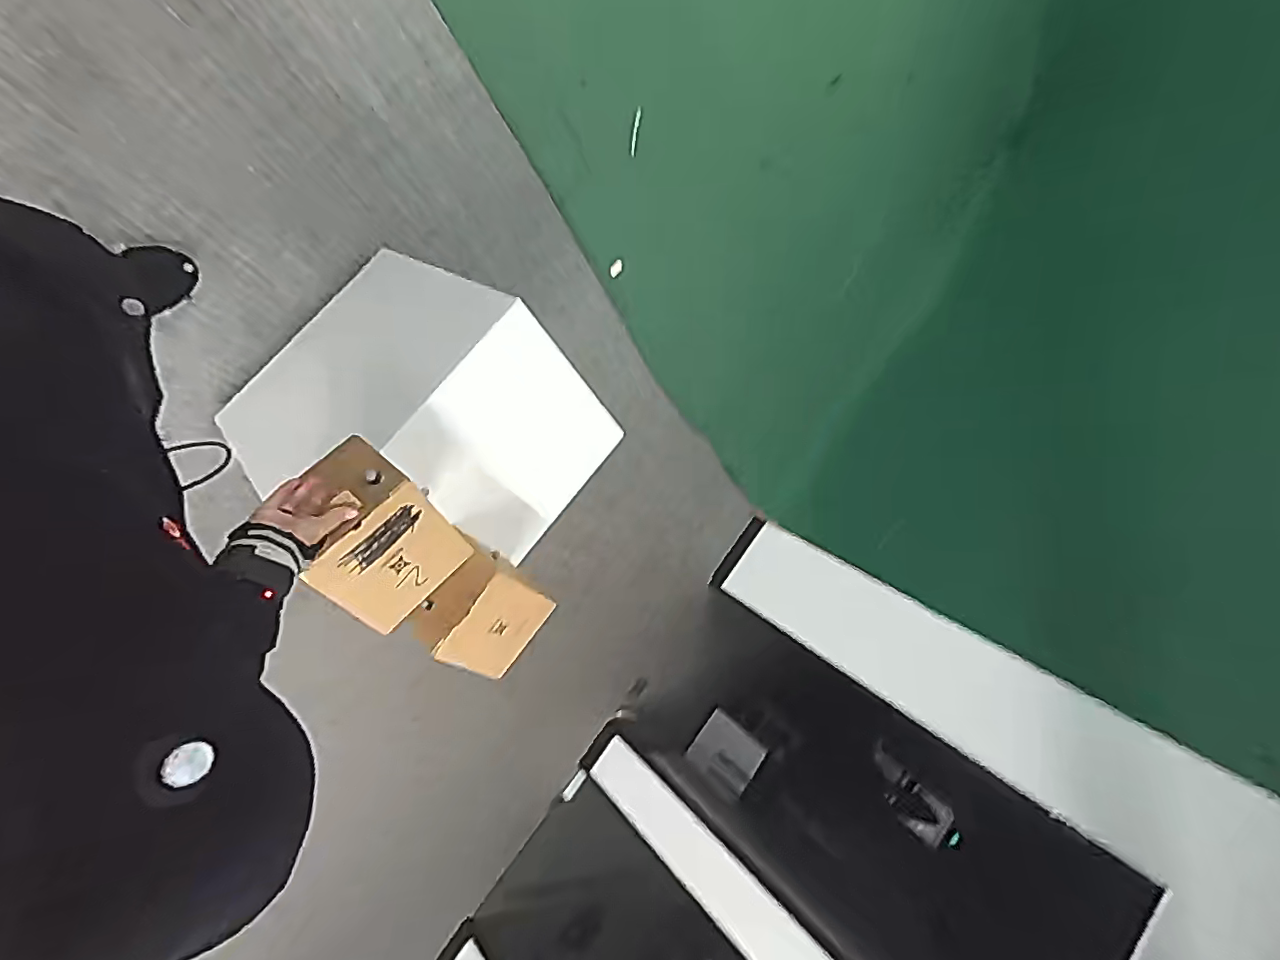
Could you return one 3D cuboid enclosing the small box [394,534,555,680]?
[{"bbox_3d":[-0.292,0.218,0.952,0.168,0.176,0.179,-52,143,-9],"label":"small box"}]
